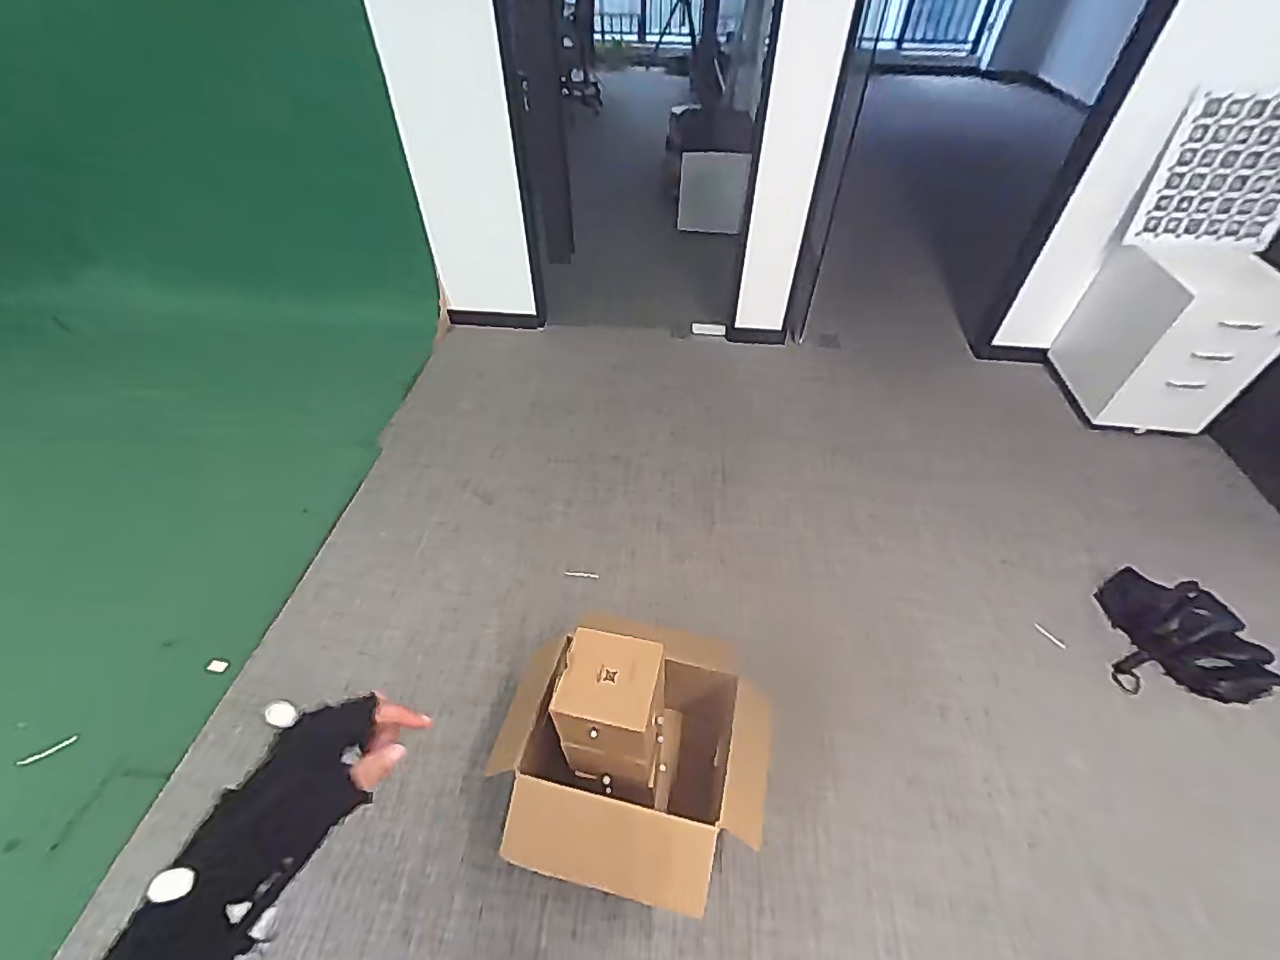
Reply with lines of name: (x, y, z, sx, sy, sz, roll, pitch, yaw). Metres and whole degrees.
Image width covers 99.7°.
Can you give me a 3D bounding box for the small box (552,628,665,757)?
small box: (-0.052, 0.412, 1.044, 0.179, 0.176, 0.168, 8, 48, 9)
